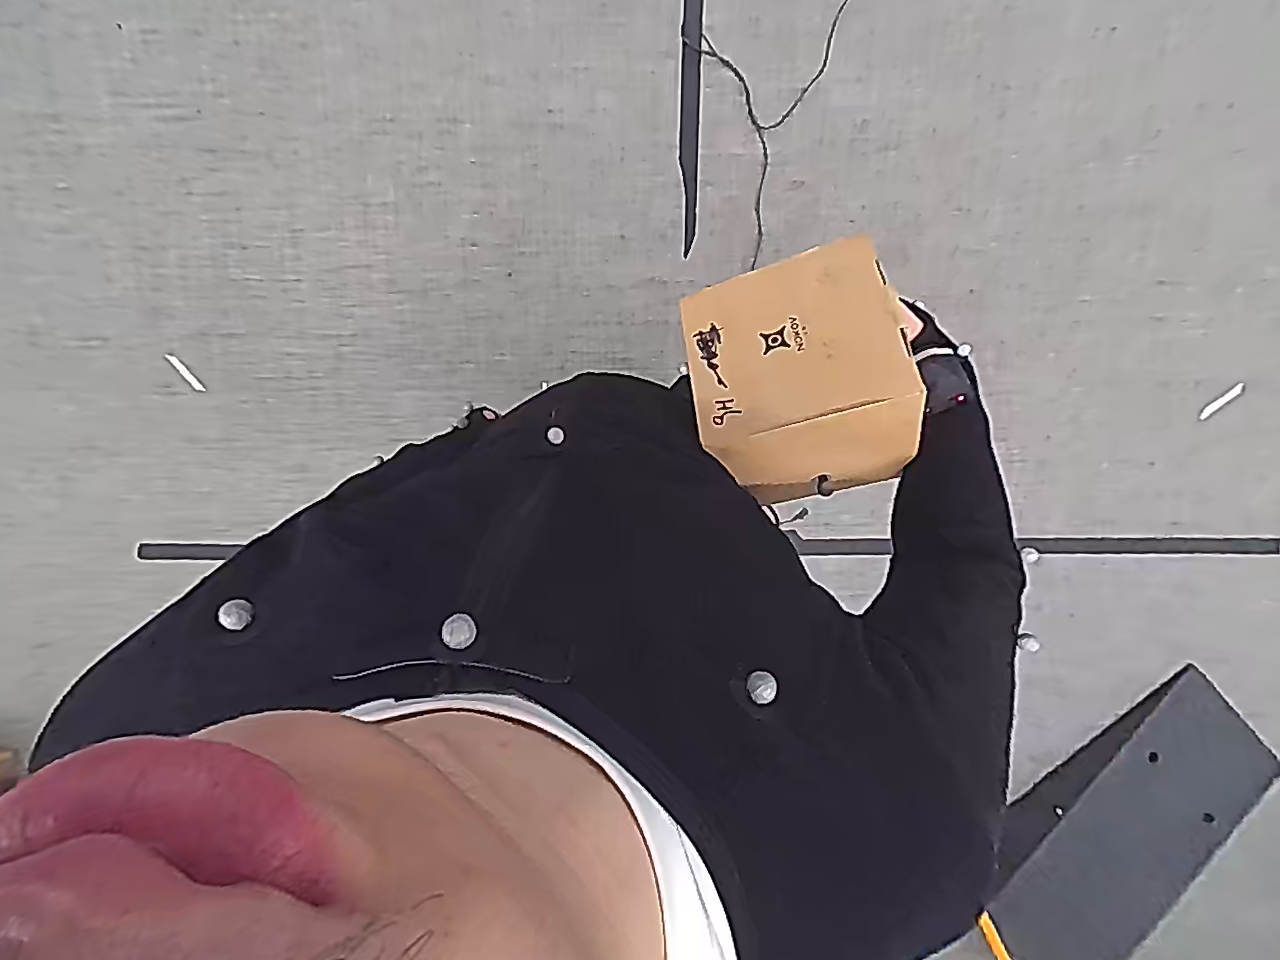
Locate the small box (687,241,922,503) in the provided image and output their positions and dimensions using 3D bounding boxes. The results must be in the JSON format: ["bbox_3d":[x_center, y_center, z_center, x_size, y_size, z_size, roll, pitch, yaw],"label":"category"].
[{"bbox_3d":[0.160,-0.093,0.541,0.179,0.176,0.168,-14,61,18],"label":"small box"}]
